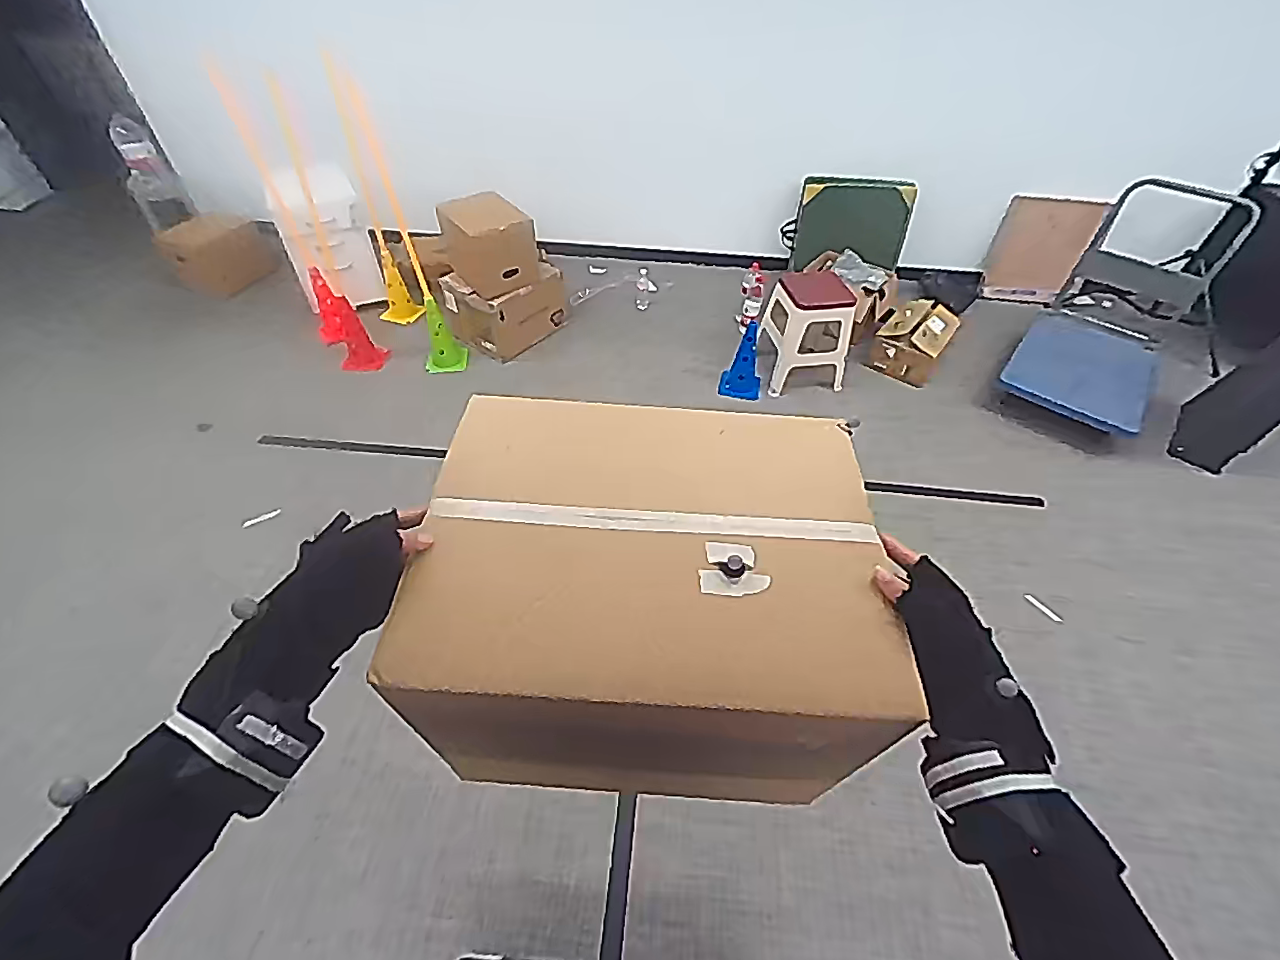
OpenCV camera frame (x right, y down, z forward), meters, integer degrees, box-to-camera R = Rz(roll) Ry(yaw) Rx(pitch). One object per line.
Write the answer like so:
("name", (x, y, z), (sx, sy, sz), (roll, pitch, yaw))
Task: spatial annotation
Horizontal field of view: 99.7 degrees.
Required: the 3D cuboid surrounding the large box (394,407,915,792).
("large box", (0.009, 0.142, 0.612), (0.408, 0.320, 0.320), (4, 50, 0))
